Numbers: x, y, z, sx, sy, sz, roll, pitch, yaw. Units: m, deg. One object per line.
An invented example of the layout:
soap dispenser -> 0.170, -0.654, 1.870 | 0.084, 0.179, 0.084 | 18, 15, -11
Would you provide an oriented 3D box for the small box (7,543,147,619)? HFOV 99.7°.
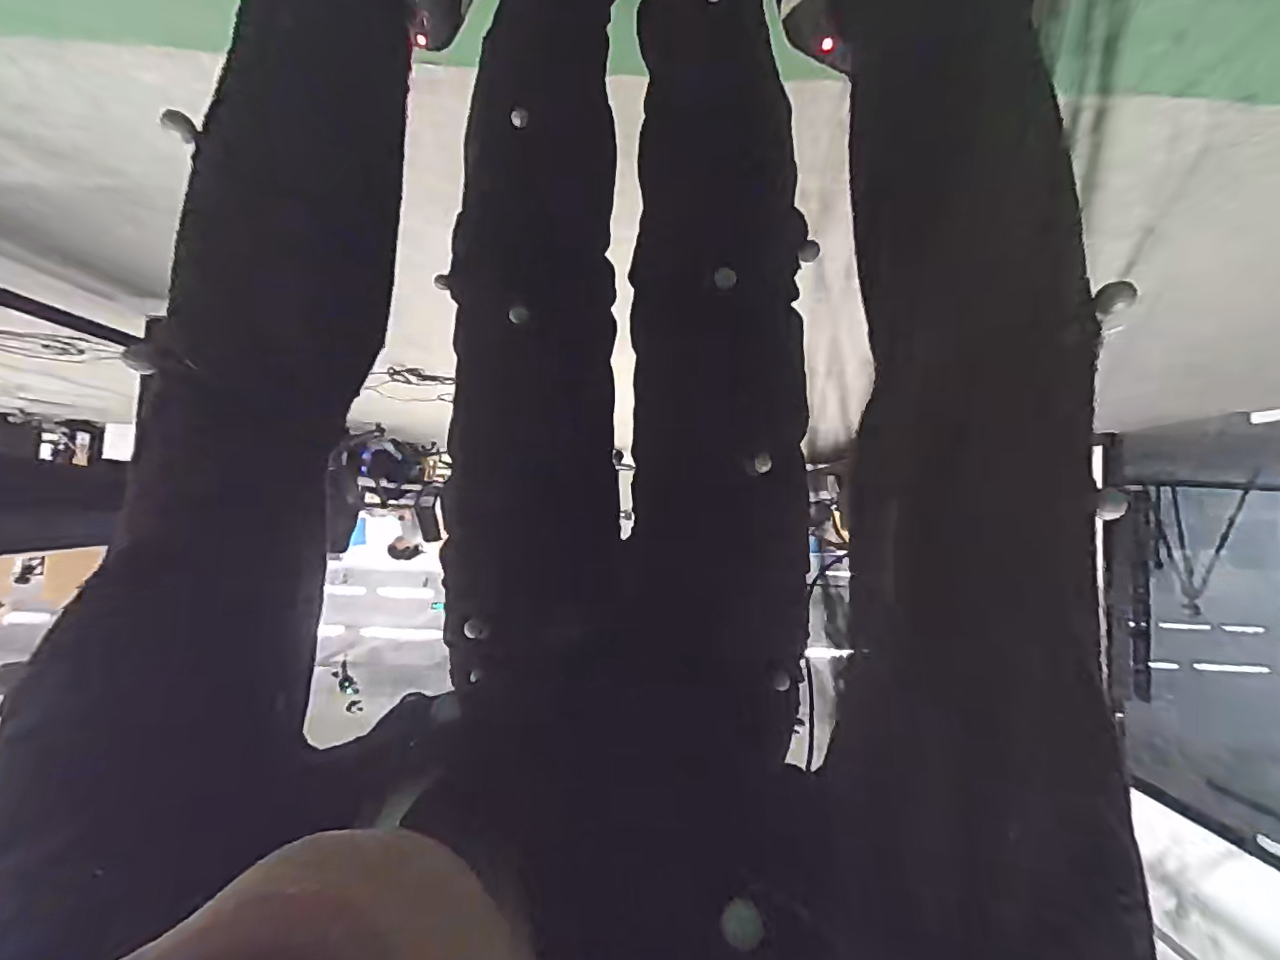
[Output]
small box -> -1.378, 0.244, 1.338 | 0.179, 0.176, 0.168 | 2, 176, -4
